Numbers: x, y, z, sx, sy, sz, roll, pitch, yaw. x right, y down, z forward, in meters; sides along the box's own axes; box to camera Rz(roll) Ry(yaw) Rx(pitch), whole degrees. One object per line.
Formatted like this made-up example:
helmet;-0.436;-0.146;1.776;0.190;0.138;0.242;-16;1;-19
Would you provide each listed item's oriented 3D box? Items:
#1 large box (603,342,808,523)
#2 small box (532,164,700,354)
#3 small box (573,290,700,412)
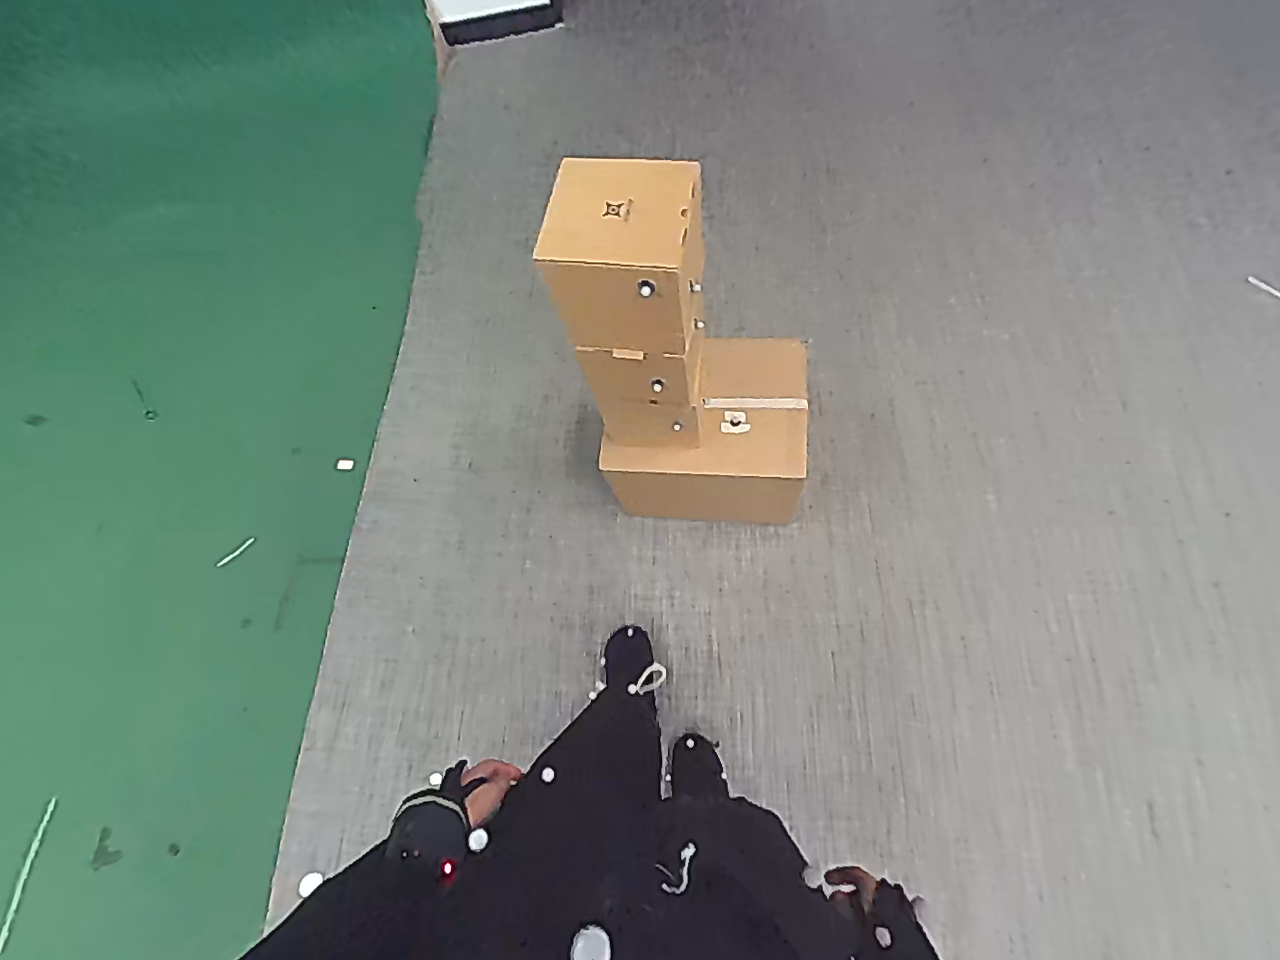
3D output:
large box;0.151;-0.094;1.231;0.408;0.320;0.320;2;70;9
small box;-0.019;-0.284;0.714;0.179;0.176;0.168;7;69;10
small box;0.005;-0.224;0.864;0.168;0.176;0.179;6;69;9
